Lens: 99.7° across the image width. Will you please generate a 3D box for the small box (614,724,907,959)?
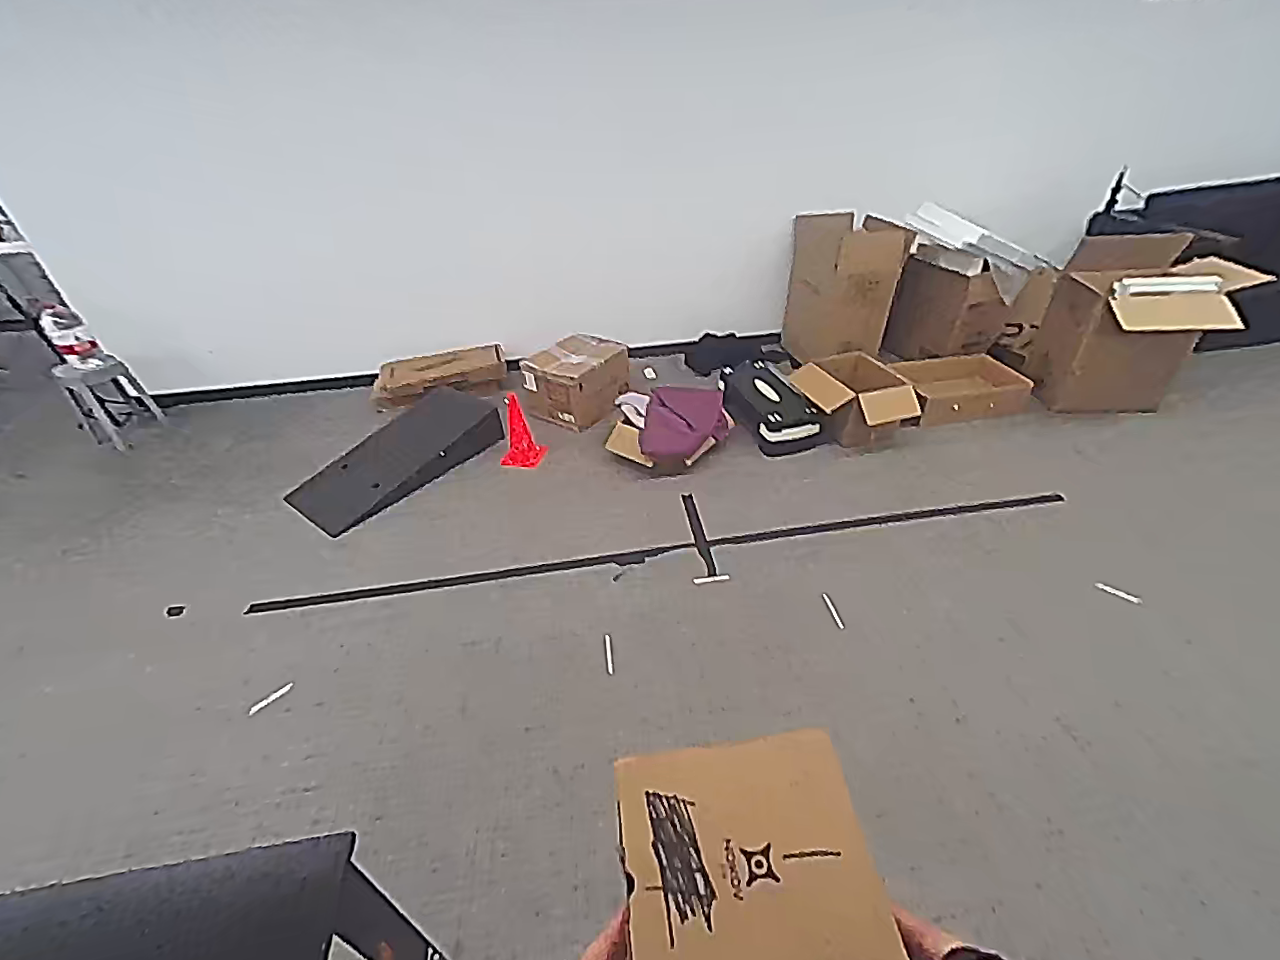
[{"bbox_3d":[0.080,0.322,0.435,0.179,0.176,0.168,-8,45,-2],"label":"small box"}]
